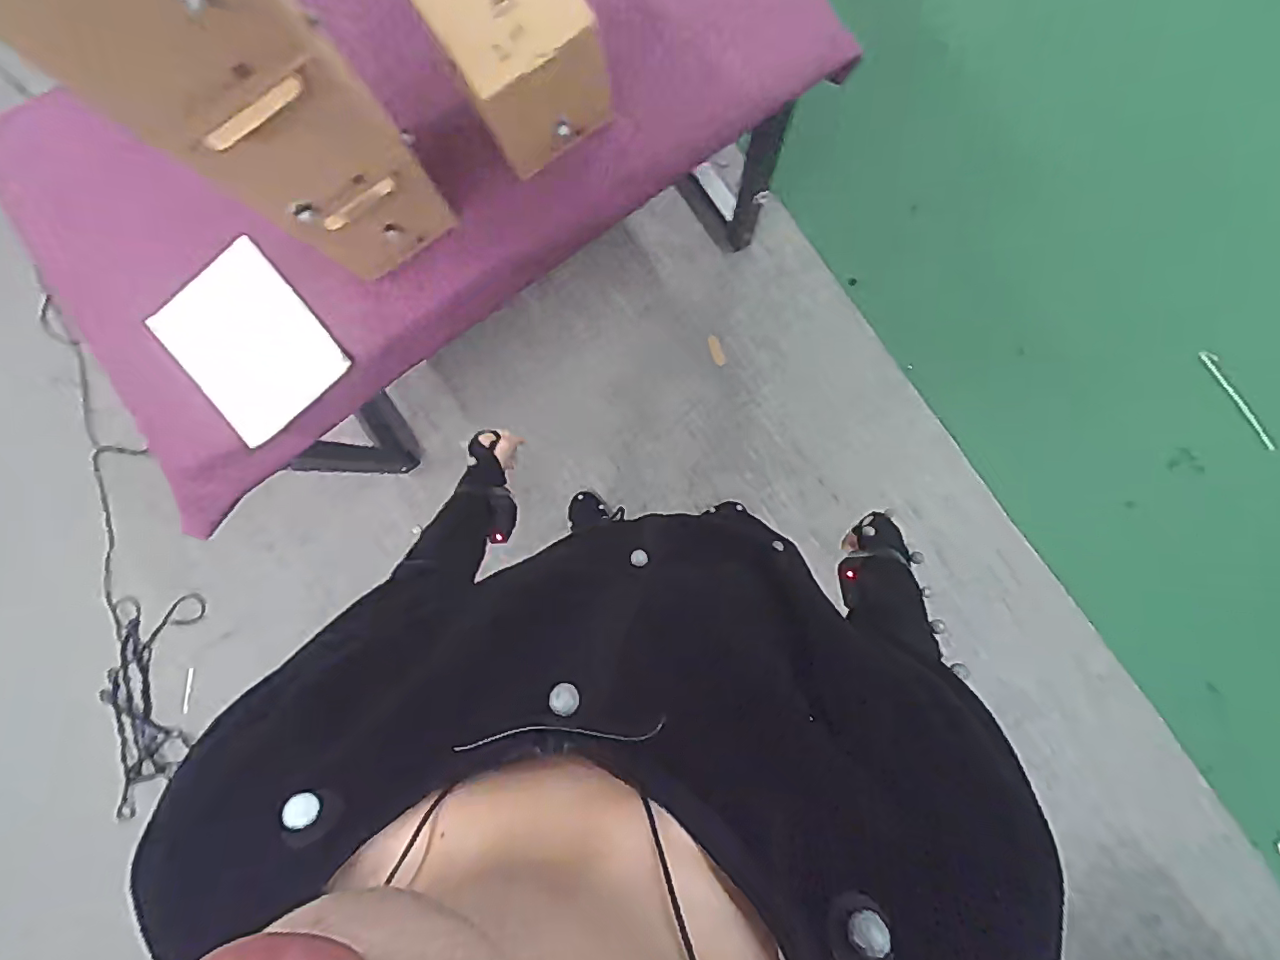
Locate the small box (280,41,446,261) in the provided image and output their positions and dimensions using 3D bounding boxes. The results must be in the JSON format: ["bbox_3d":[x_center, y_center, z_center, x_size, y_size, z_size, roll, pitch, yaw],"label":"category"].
[{"bbox_3d":[-0.398,-0.426,0.732,0.168,0.176,0.179,-33,89,2],"label":"small box"}]

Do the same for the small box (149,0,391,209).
[{"bbox_3d":[-0.403,-0.421,0.567,0.168,0.176,0.179,-33,87,2],"label":"small box"}]

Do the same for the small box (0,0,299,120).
[{"bbox_3d":[-0.408,-0.417,0.405,0.168,0.176,0.179,-33,88,2],"label":"small box"}]
